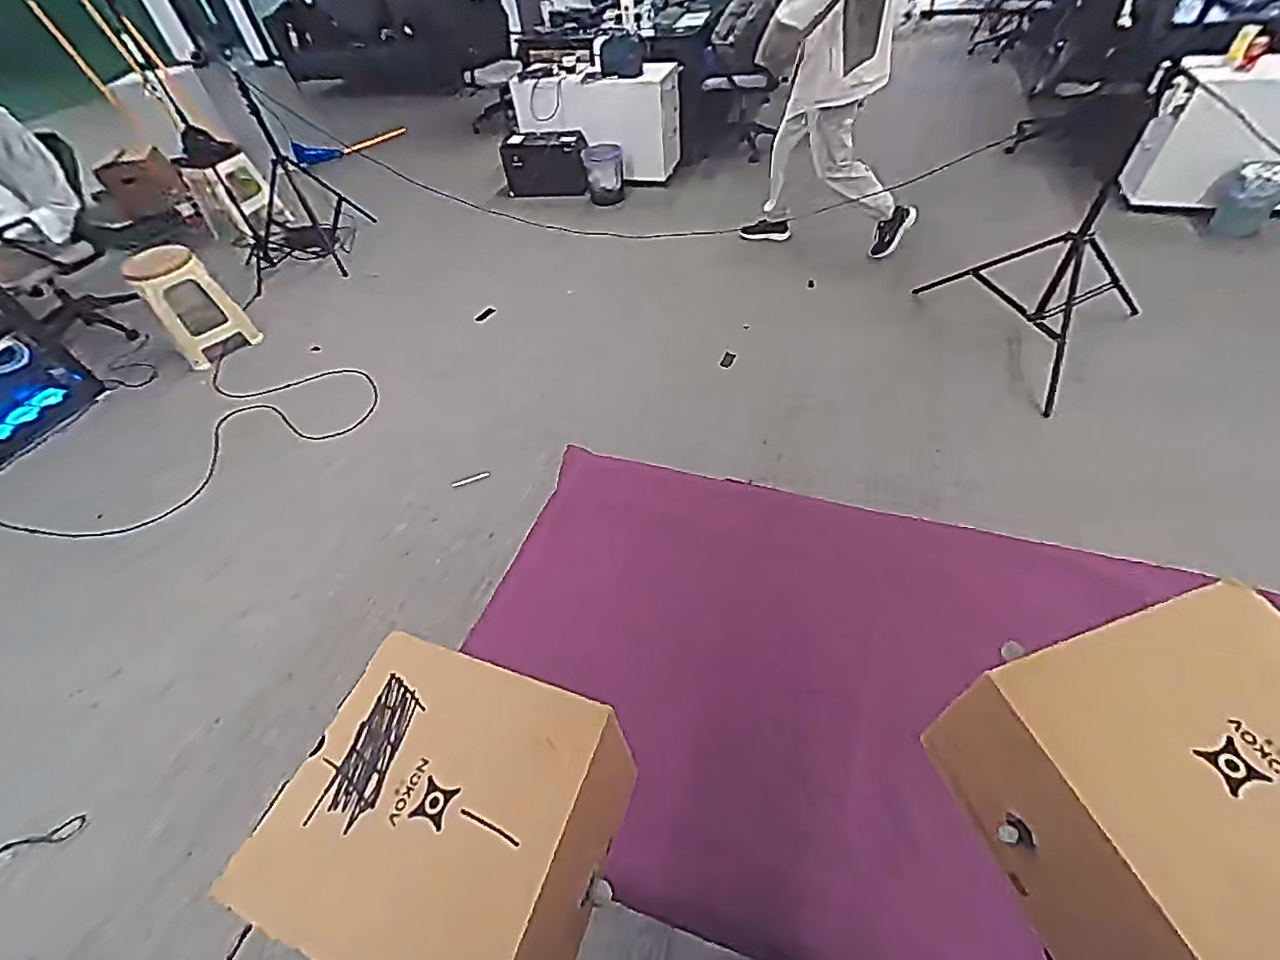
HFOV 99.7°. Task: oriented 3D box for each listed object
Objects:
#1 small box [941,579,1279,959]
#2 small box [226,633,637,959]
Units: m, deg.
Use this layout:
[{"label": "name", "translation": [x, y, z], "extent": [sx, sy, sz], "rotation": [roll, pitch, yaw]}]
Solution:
[{"label": "small box", "translation": [0.325, 0.196, 0.344], "extent": [0.179, 0.176, 0.168], "rotation": [-19, 51, -4]}, {"label": "small box", "translation": [-0.115, 0.238, 0.378], "extent": [0.179, 0.176, 0.168], "rotation": [12, 52, 17]}]
